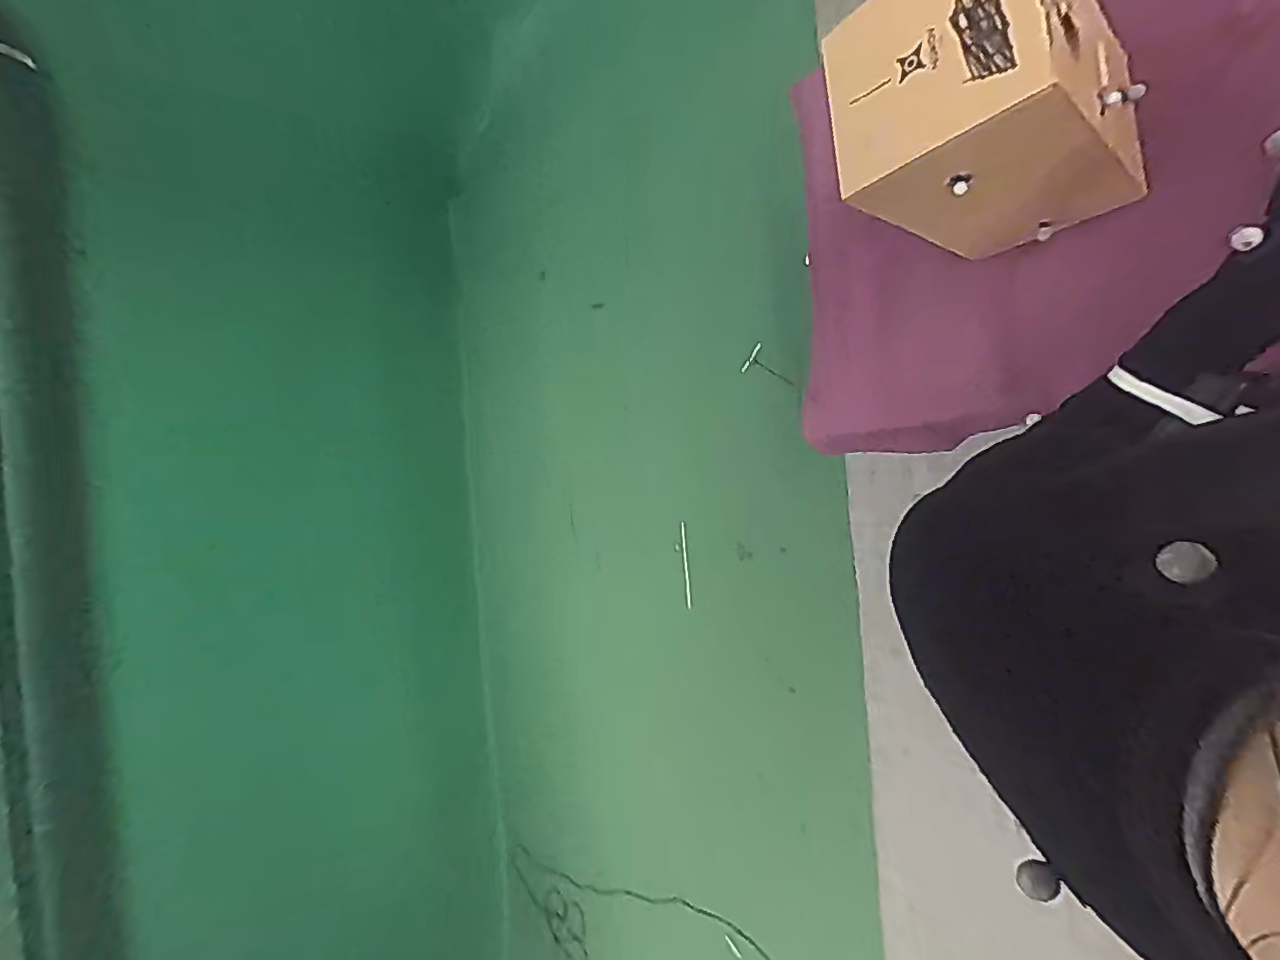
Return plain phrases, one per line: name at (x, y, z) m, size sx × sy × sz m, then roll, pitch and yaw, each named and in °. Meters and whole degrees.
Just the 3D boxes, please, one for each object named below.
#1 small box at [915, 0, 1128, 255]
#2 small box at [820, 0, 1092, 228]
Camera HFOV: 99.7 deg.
small box at (0.434, -0.385, 0.626) m, size 0.179 × 0.176 × 0.168 m, roll -9°, pitch 87°, yaw 51°
small box at (0.306, -0.372, 0.523) m, size 0.179 × 0.176 × 0.168 m, roll -8°, pitch 88°, yaw 53°
